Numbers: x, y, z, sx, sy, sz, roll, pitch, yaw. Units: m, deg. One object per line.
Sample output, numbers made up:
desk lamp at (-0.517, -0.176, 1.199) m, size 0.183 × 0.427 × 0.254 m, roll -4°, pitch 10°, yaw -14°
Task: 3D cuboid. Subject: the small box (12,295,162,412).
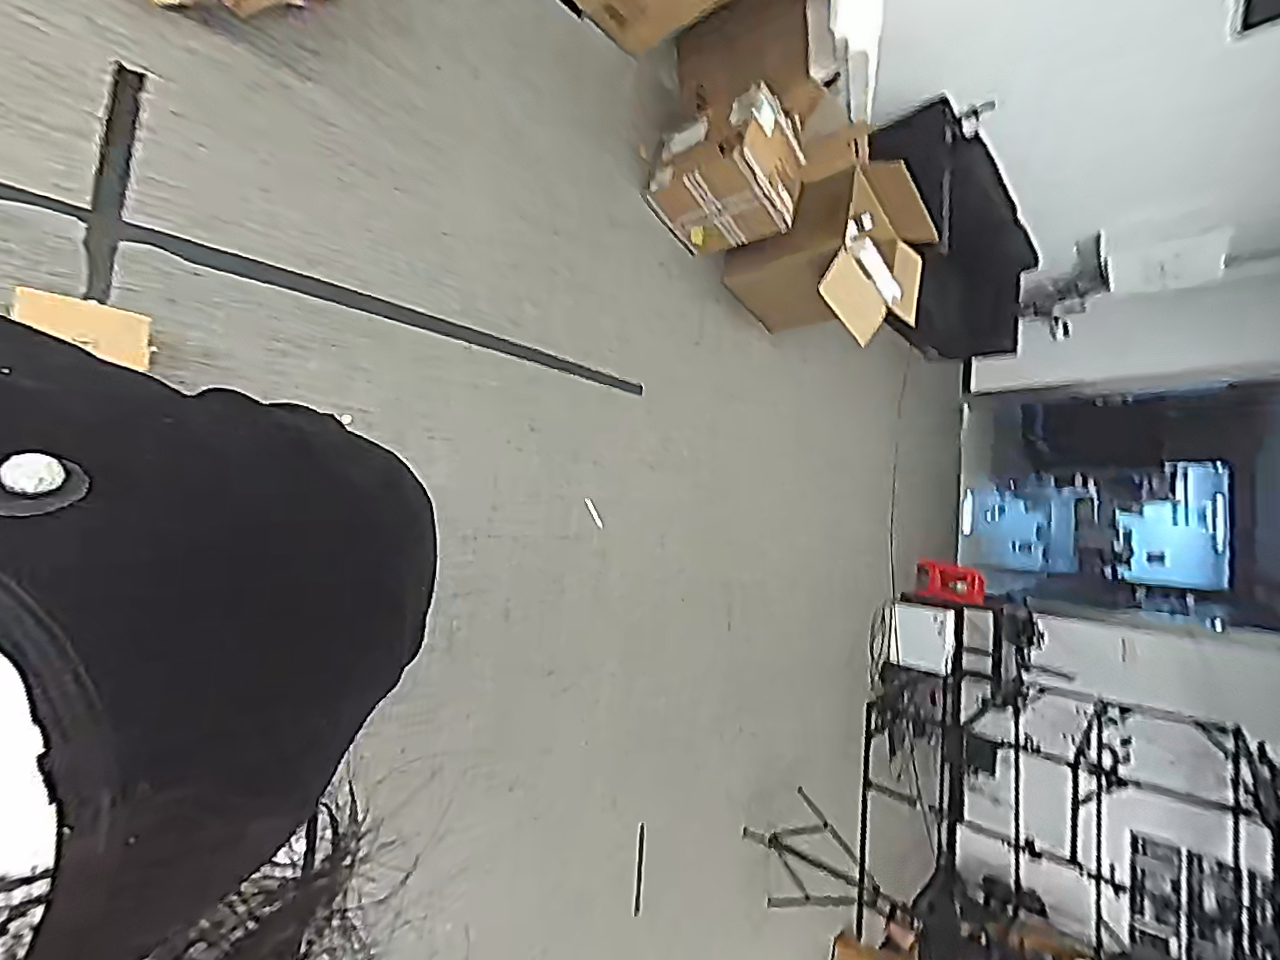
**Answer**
small box at (-1.042, -0.228, 1.027) m, size 0.179 × 0.176 × 0.168 m, roll 8°, pitch 84°, yaw -45°
